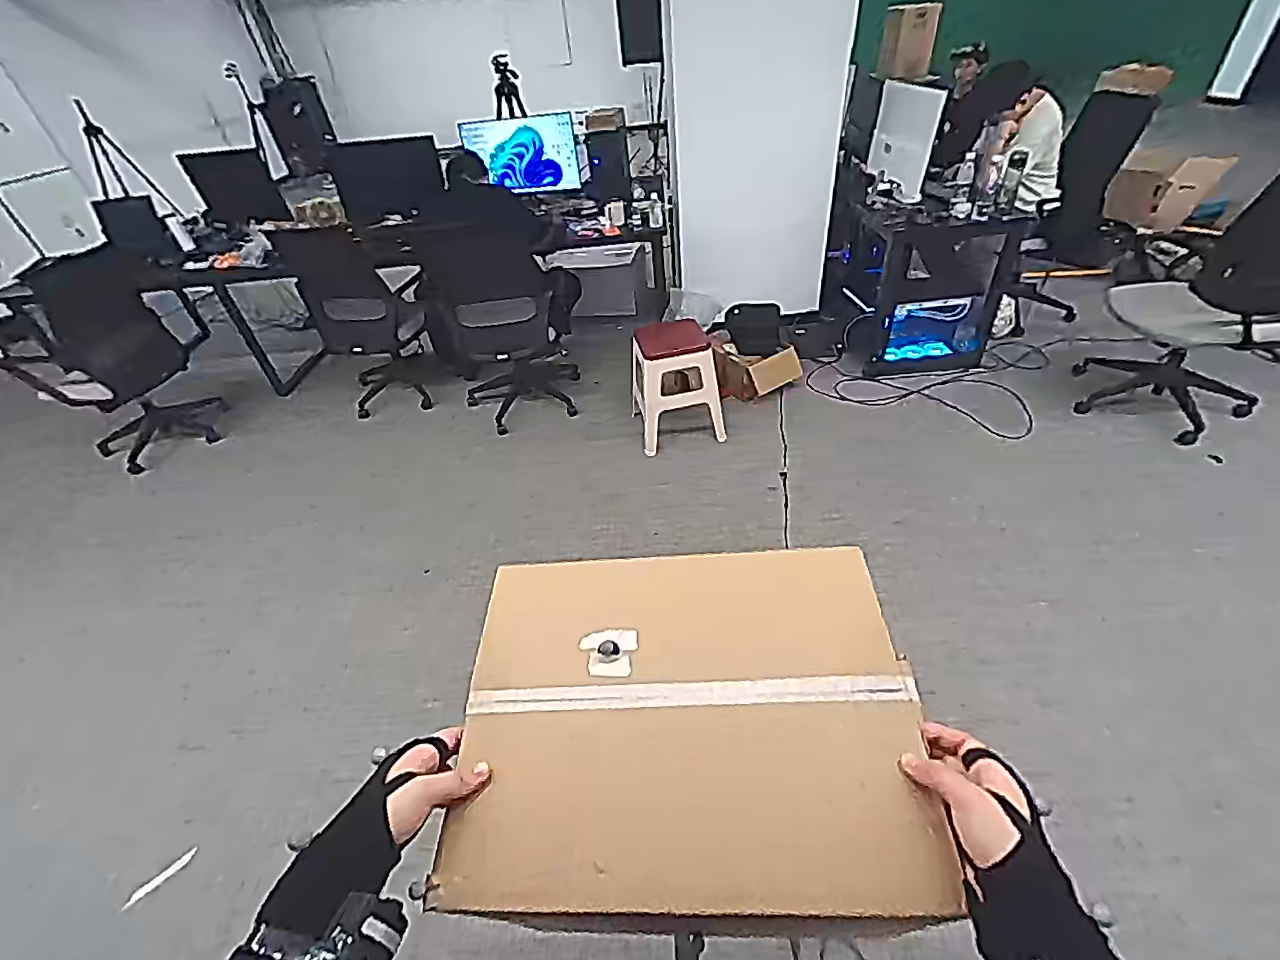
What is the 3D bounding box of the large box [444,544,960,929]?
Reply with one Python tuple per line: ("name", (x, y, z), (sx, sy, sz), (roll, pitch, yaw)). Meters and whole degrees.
("large box", (0.061, 0.303, 0.618), (0.408, 0.320, 0.320), (-6, 46, 7))
